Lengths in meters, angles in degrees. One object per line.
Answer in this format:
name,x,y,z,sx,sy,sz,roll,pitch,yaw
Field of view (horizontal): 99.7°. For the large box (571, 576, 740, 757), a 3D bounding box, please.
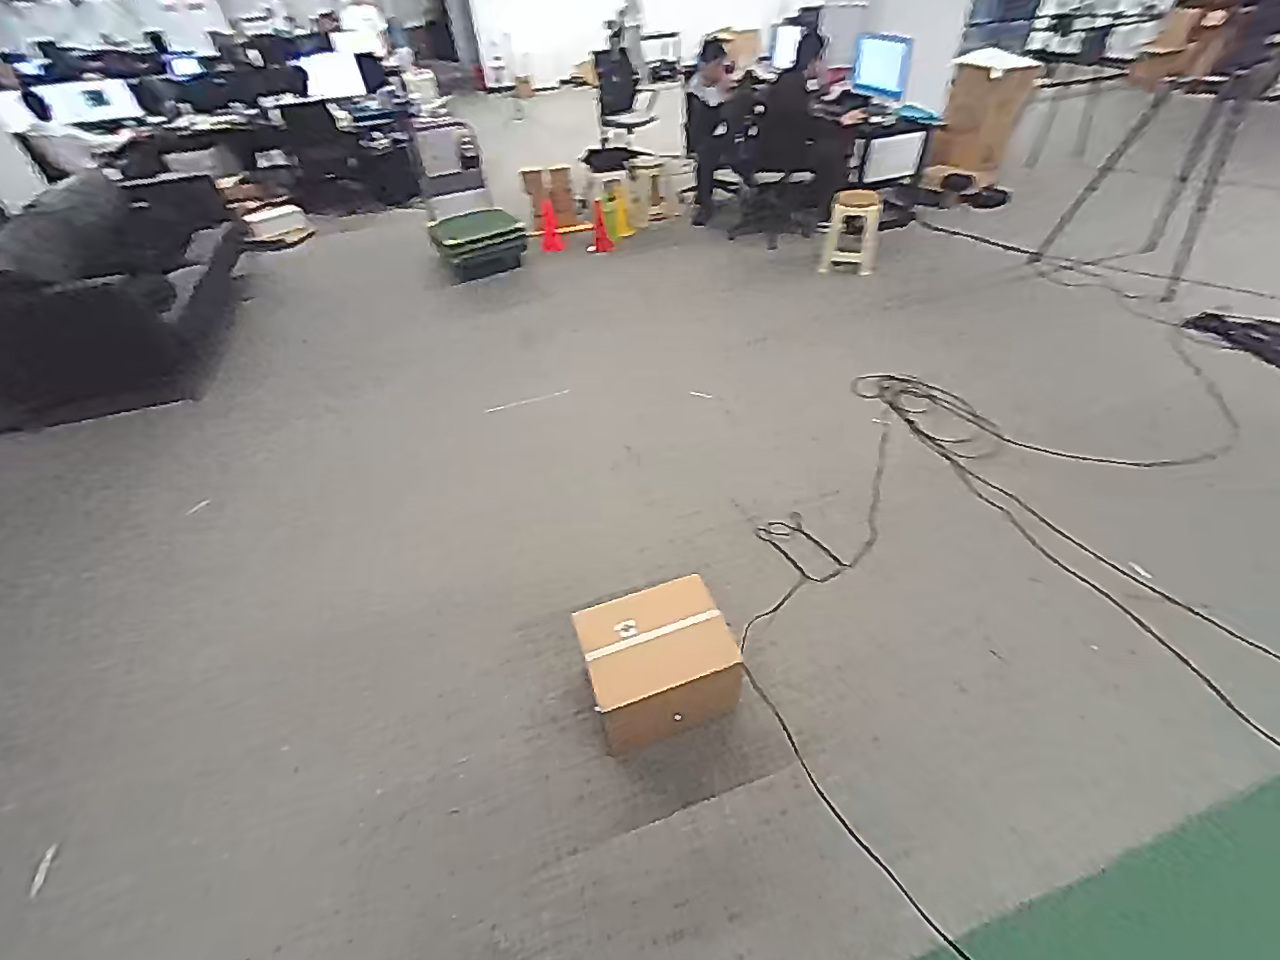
large box,0.046,0.554,1.618,0.408,0.320,0.320,-18,44,-12
